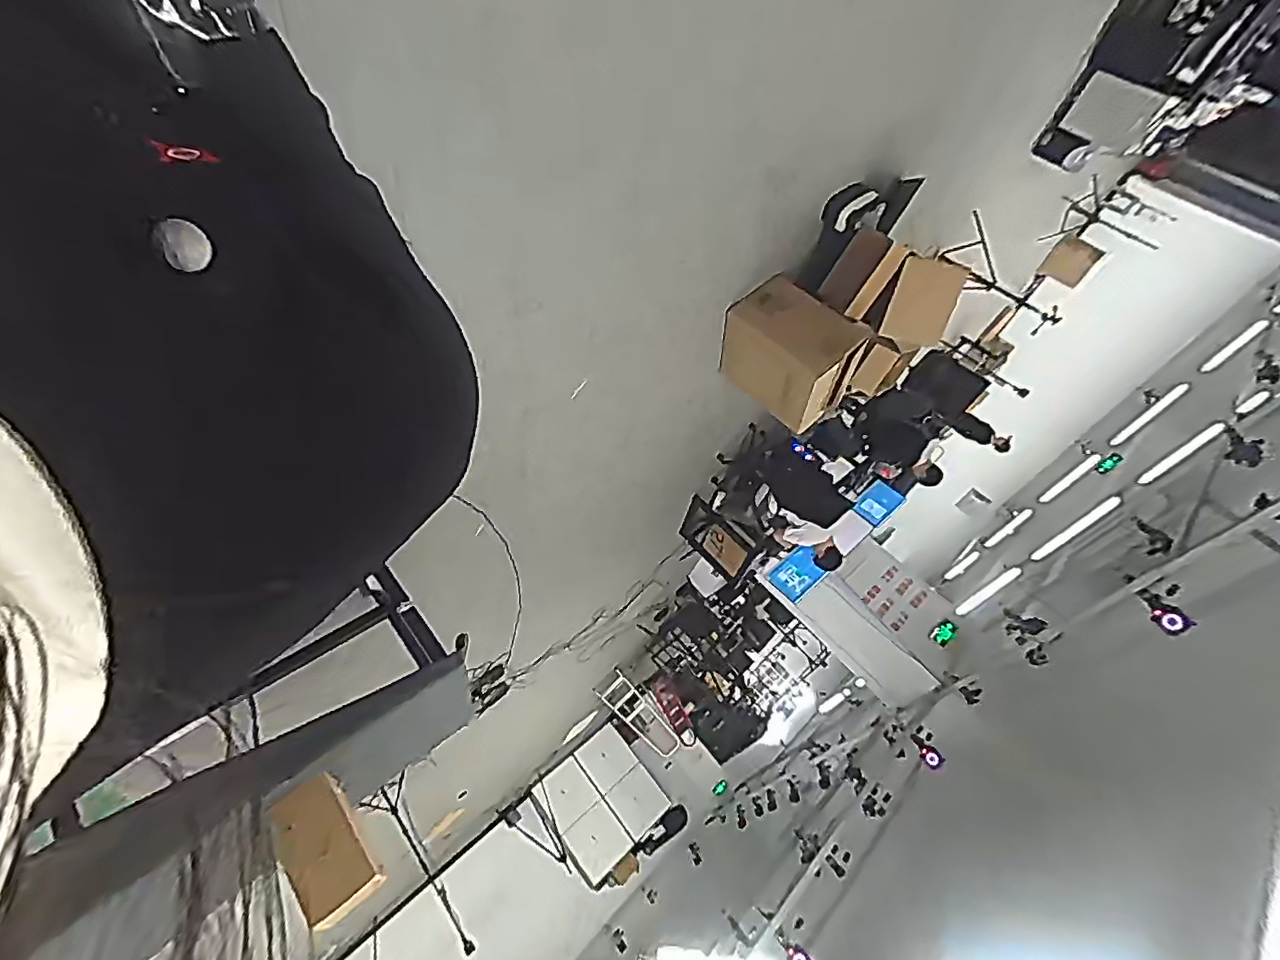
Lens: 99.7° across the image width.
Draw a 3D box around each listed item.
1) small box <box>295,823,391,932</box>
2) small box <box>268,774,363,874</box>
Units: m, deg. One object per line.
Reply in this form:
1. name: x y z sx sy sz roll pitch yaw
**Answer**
1. small box: -0.827 1.103 1.503 0.179 0.176 0.168 -31 155 -31
2. small box: -0.936 0.993 1.559 0.179 0.176 0.168 -33 156 -32
